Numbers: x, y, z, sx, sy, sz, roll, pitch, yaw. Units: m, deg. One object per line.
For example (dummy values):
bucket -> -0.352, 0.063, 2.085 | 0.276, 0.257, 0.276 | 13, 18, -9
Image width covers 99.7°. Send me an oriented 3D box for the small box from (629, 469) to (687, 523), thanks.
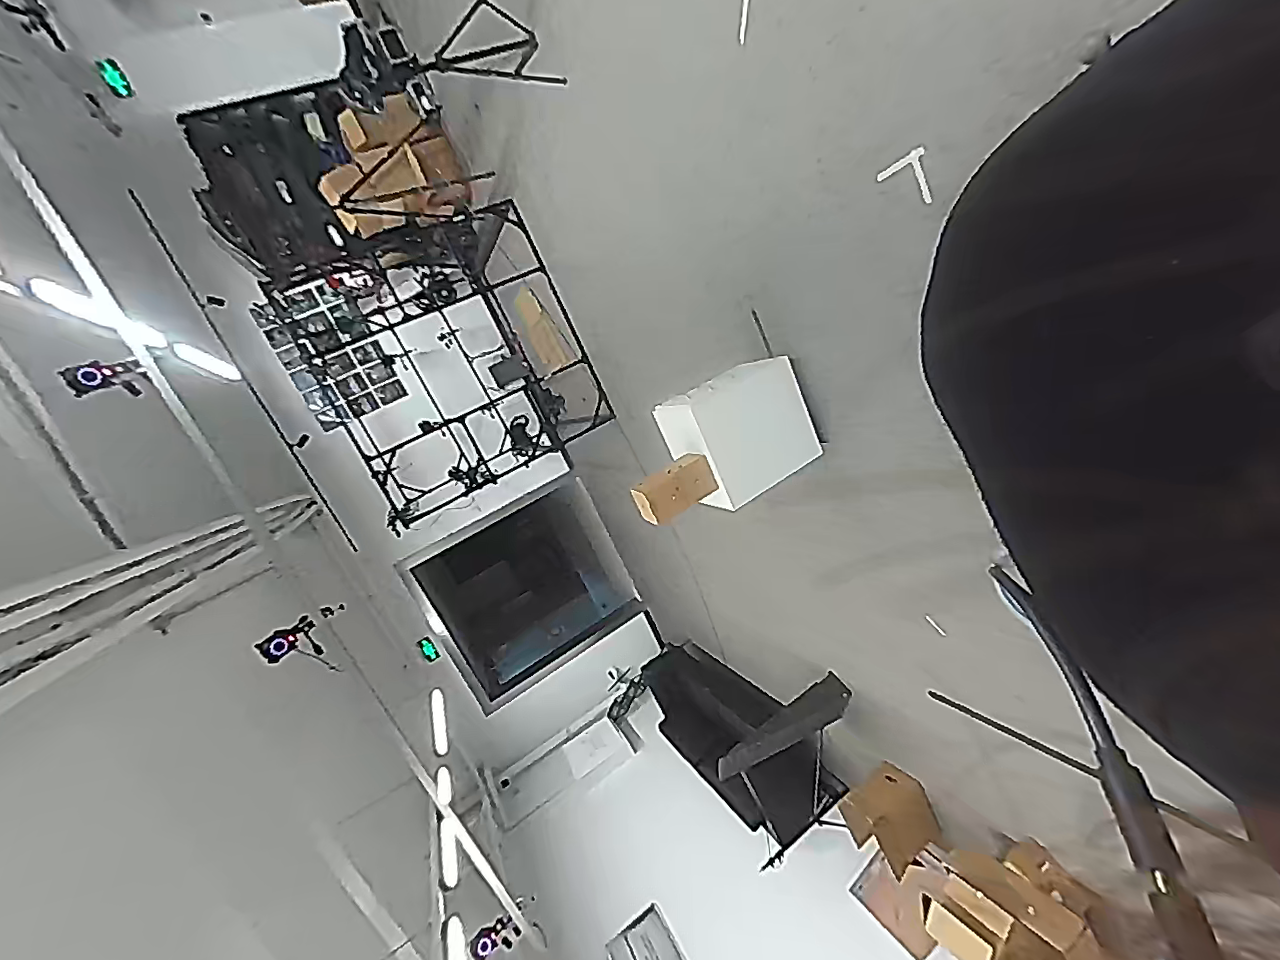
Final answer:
small box -> 0.083, 0.064, 2.398 | 0.168, 0.176, 0.179 | 64, 162, -18
